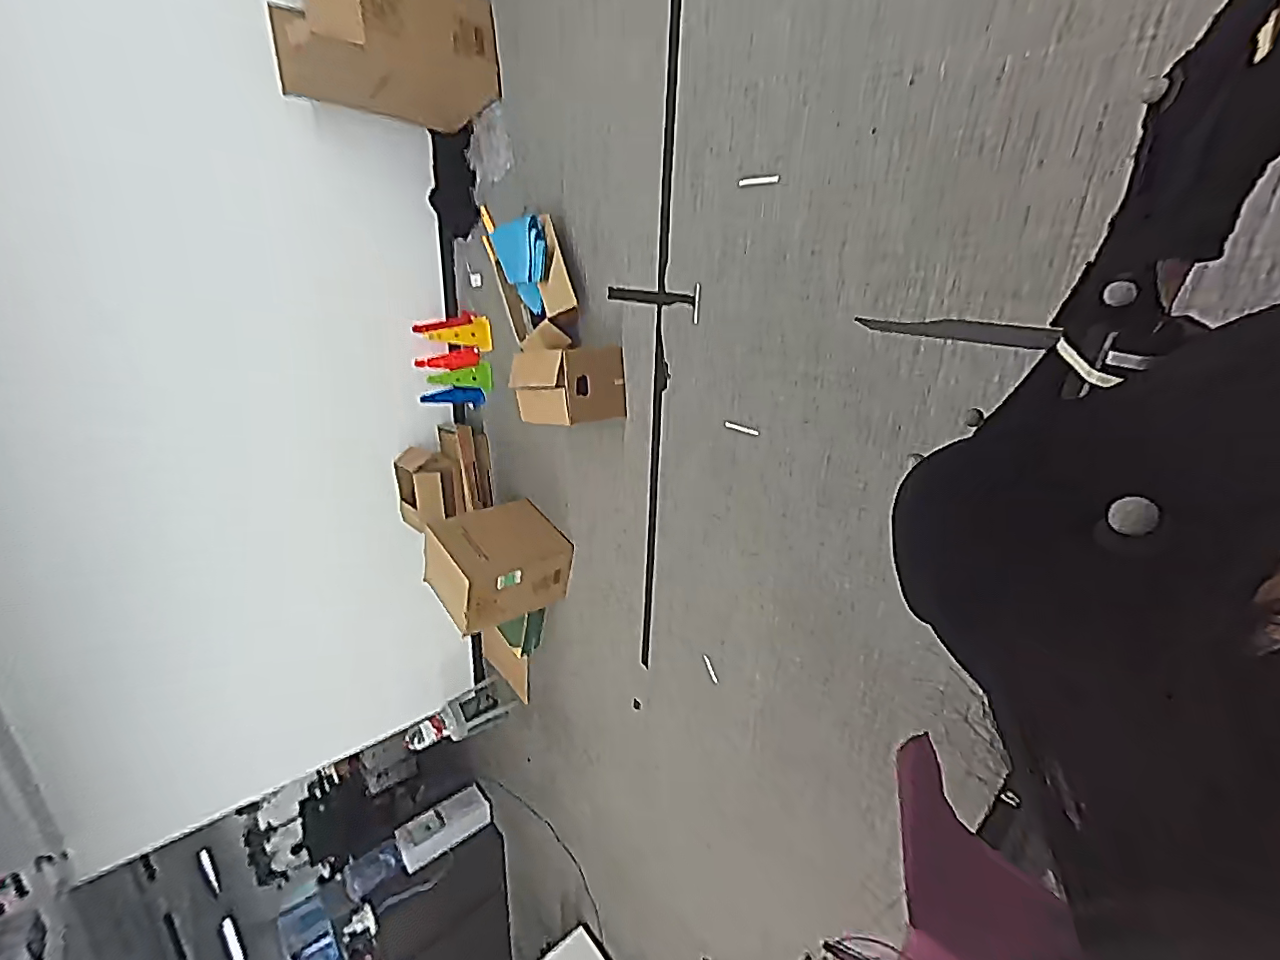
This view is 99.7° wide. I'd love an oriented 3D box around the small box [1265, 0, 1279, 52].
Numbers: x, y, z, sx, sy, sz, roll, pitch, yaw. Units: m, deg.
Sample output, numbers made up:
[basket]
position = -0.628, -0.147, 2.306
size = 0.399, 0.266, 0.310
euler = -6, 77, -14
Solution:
[small box]
position = 0.427, -0.334, 0.243
size = 0.168, 0.176, 0.179
euler = 8, 115, 42
